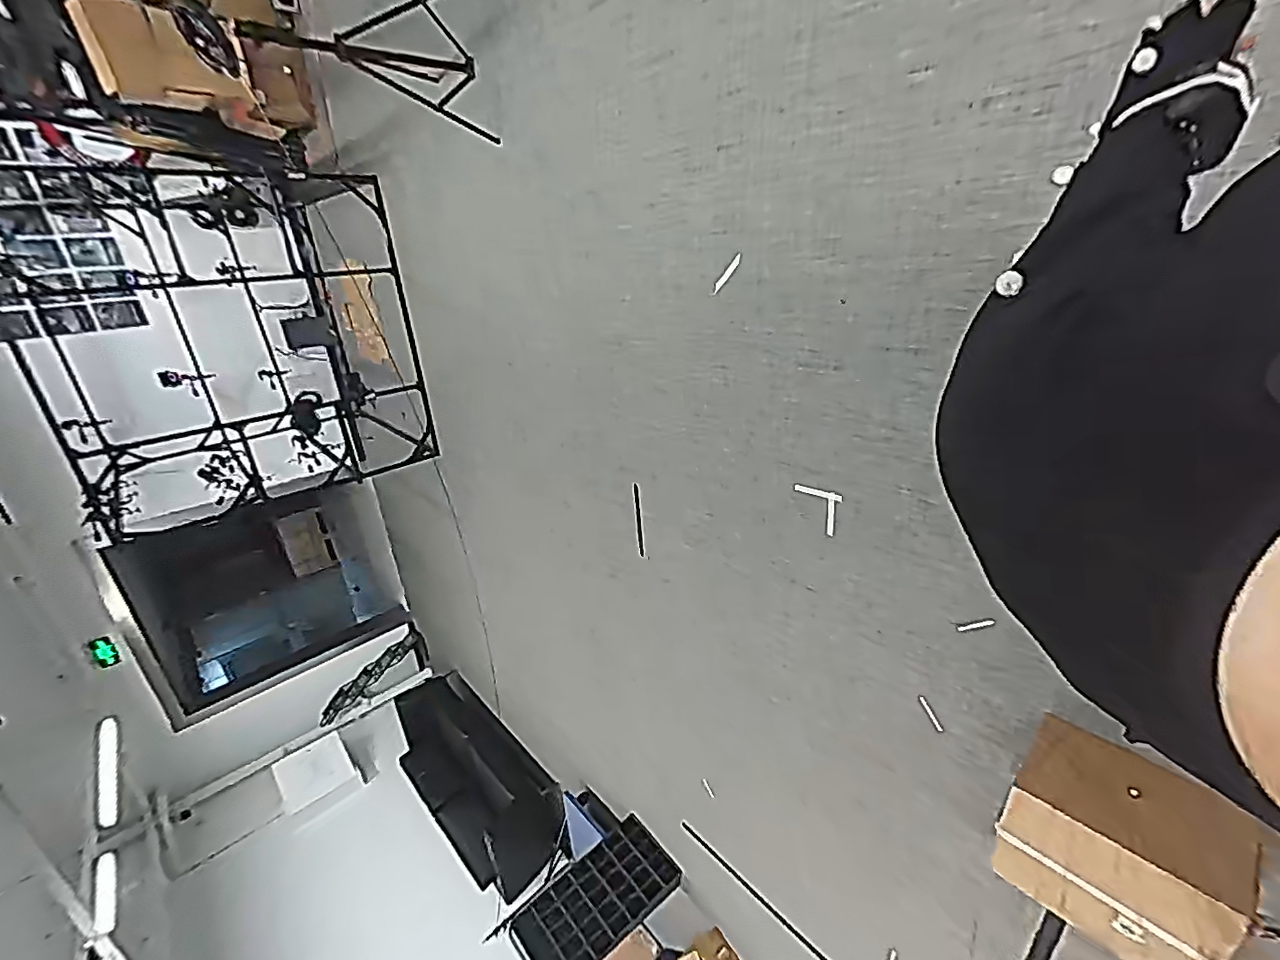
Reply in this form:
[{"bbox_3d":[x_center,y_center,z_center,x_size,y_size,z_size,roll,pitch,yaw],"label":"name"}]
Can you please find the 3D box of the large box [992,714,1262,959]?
[{"bbox_3d":[1.145,0.857,1.299,0.408,0.320,0.320,21,123,44],"label":"large box"}]
